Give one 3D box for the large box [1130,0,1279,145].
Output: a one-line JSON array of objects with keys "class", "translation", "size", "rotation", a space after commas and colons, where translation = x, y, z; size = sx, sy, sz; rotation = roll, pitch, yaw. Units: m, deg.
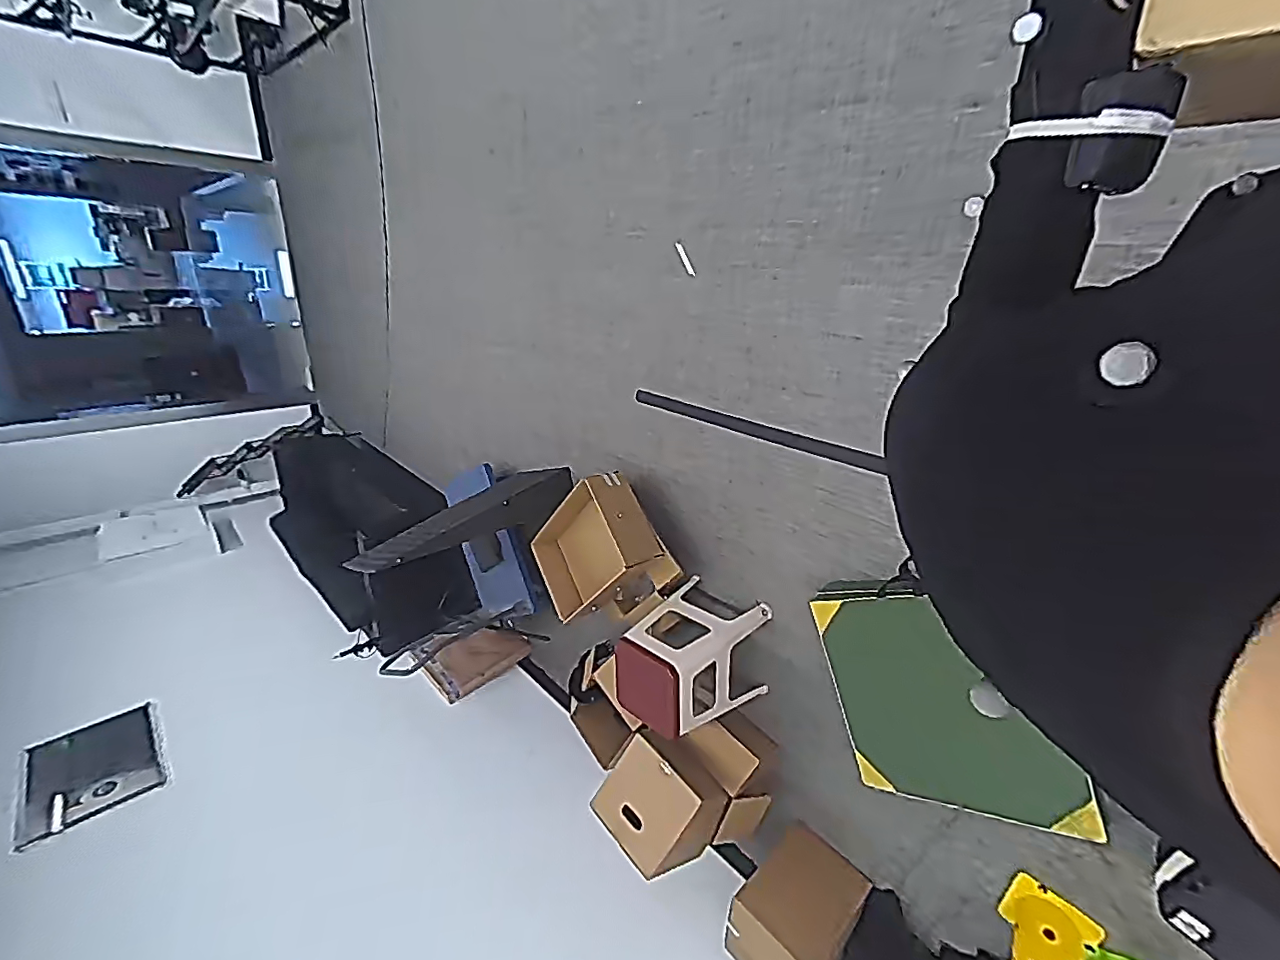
[{"class": "large box", "translation": [0.559, -0.393, 0.272], "size": [0.408, 0.320, 0.320], "rotation": [20, 120, 39]}]
